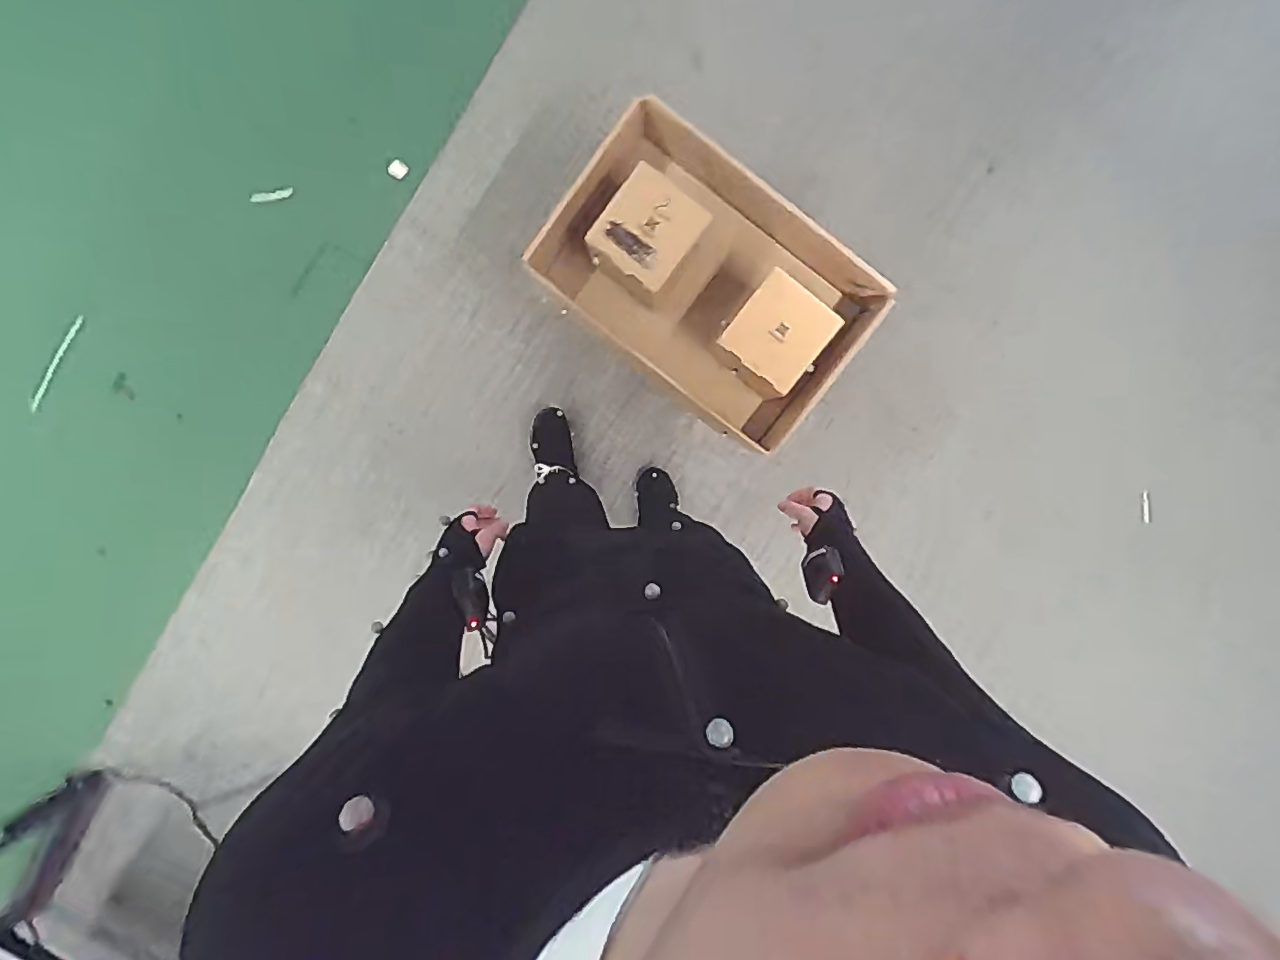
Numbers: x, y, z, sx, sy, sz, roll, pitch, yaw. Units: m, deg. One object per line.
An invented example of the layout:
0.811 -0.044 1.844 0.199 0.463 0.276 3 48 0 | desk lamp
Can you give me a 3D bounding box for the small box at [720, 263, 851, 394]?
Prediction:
0.274 -0.288 1.070 0.168 0.176 0.179 38 97 -3 | small box
